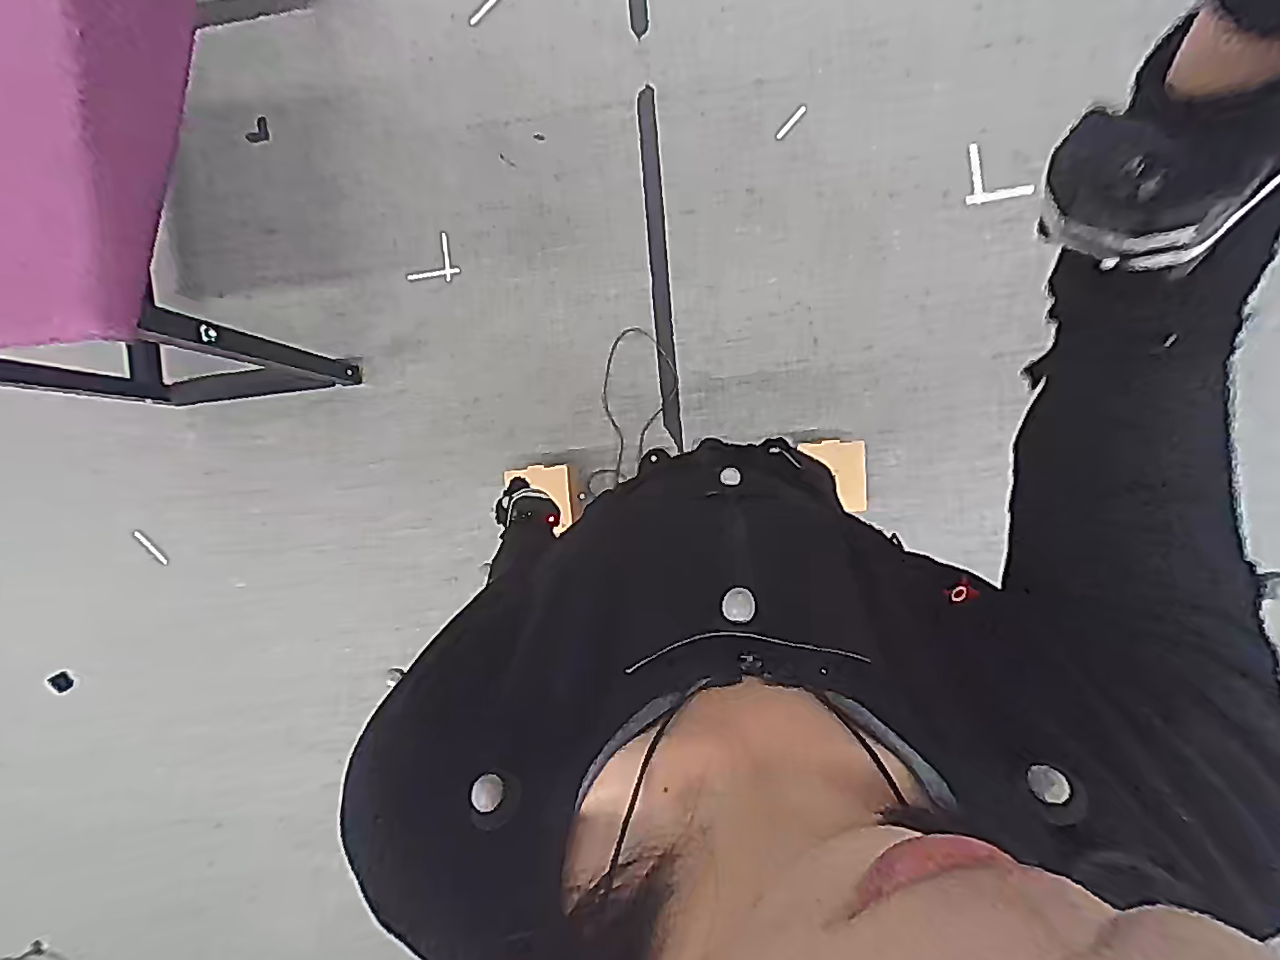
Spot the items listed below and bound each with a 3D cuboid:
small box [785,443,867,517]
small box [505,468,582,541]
[{"bbox_3d":[0.477,-0.001,1.403,0.168,0.176,0.179,-3,92,5],"label":"small box"},{"bbox_3d":[-0.253,0.065,1.448,0.168,0.176,0.179,-5,89,4],"label":"small box"}]
